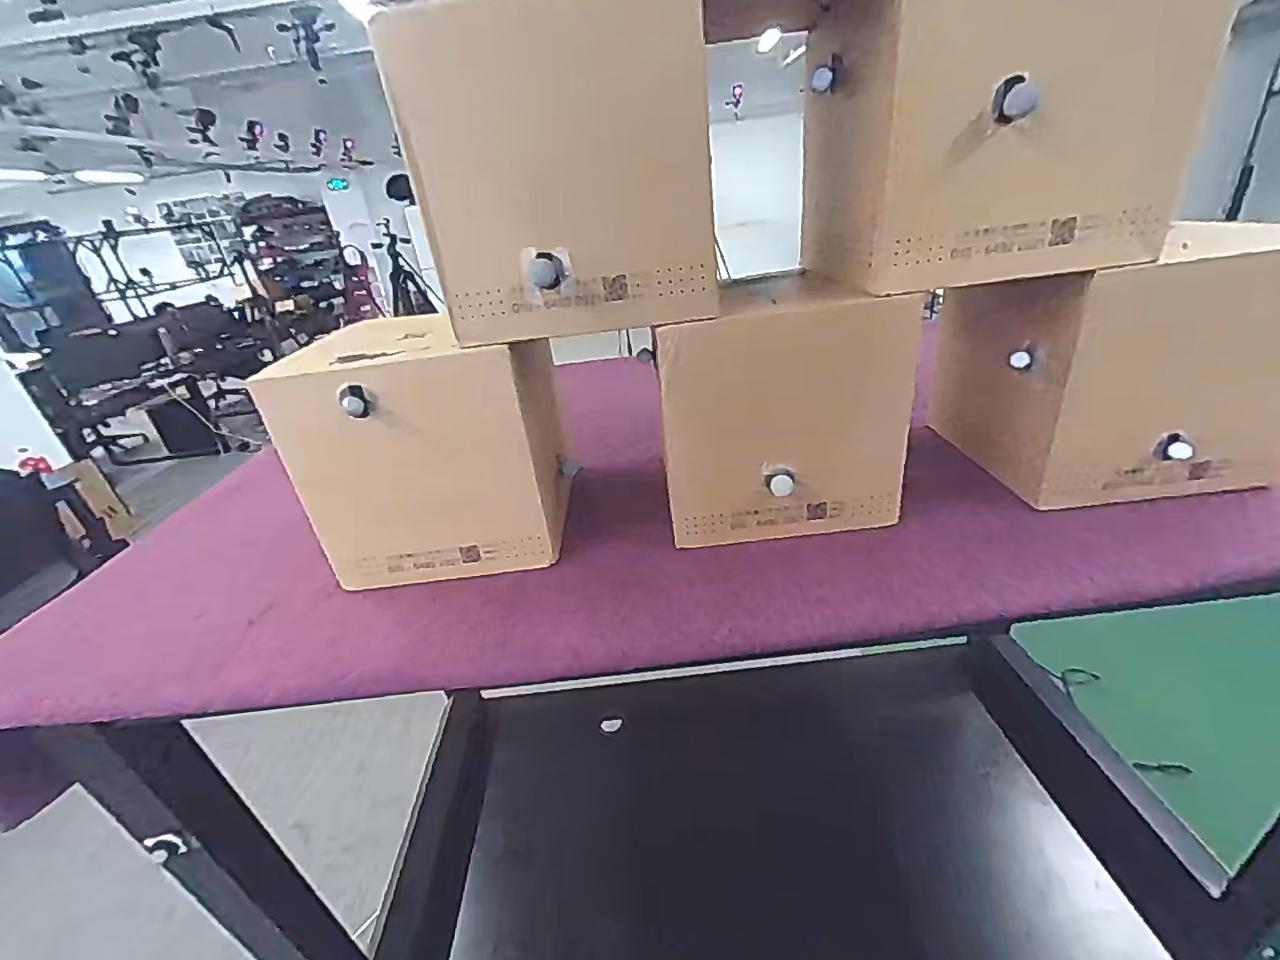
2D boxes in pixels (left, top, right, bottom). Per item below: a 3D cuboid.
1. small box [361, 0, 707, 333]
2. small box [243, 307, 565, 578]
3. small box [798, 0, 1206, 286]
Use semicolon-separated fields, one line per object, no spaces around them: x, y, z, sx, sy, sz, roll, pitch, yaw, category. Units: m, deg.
-0.047;-0.204;0.367;0.168;0.176;0.179;-6;27;3;small box
-0.159;-0.043;0.439;0.168;0.176;0.179;-7;26;1;small box
0.209;-0.230;0.356;0.168;0.176;0.179;-6;27;3;small box
